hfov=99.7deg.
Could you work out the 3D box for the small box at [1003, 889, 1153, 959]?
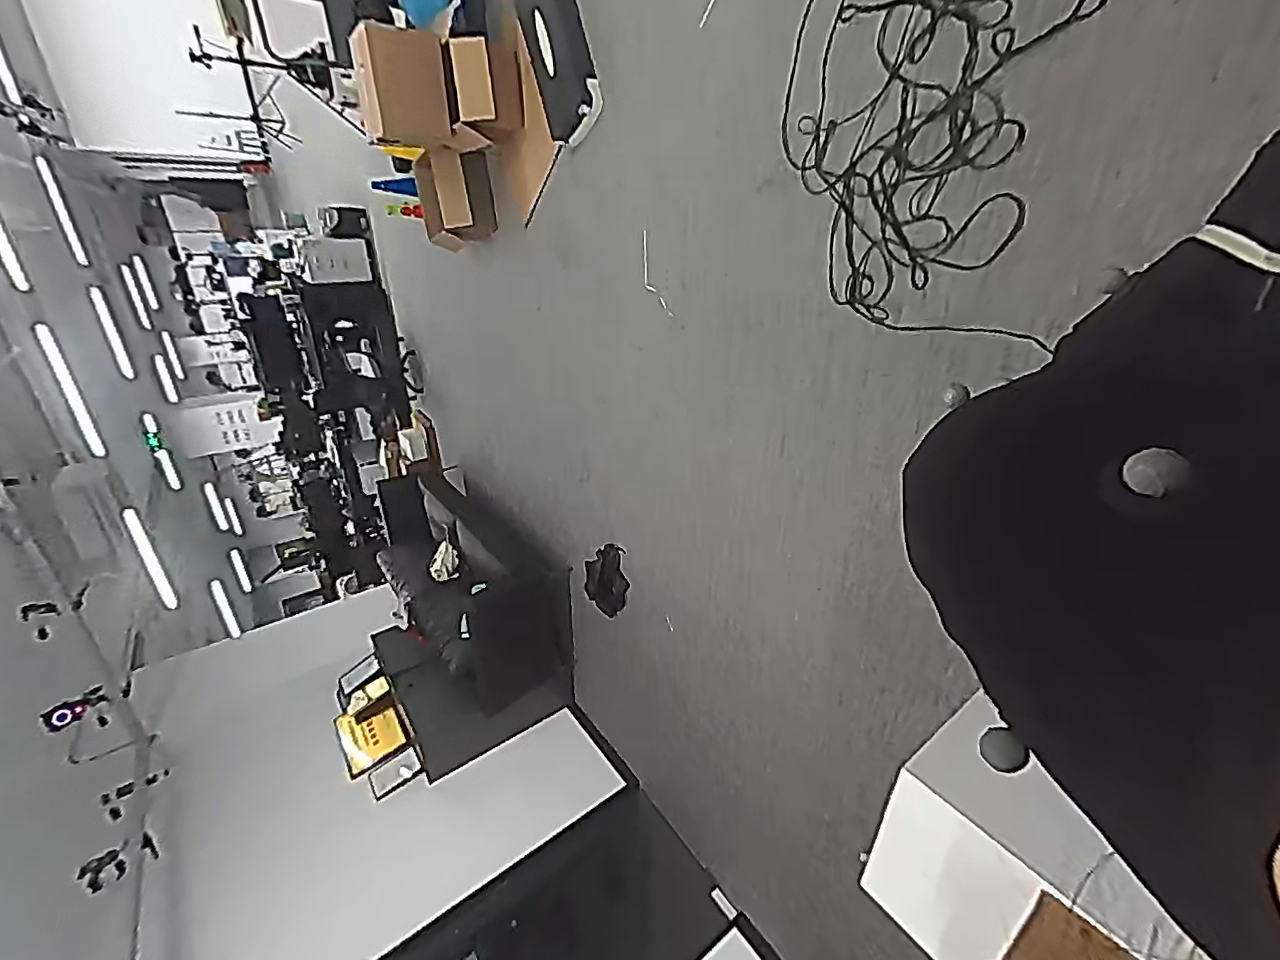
[{"bbox_3d":[0.630,0.754,0.774,0.168,0.176,0.179,25,126,50],"label":"small box"}]
